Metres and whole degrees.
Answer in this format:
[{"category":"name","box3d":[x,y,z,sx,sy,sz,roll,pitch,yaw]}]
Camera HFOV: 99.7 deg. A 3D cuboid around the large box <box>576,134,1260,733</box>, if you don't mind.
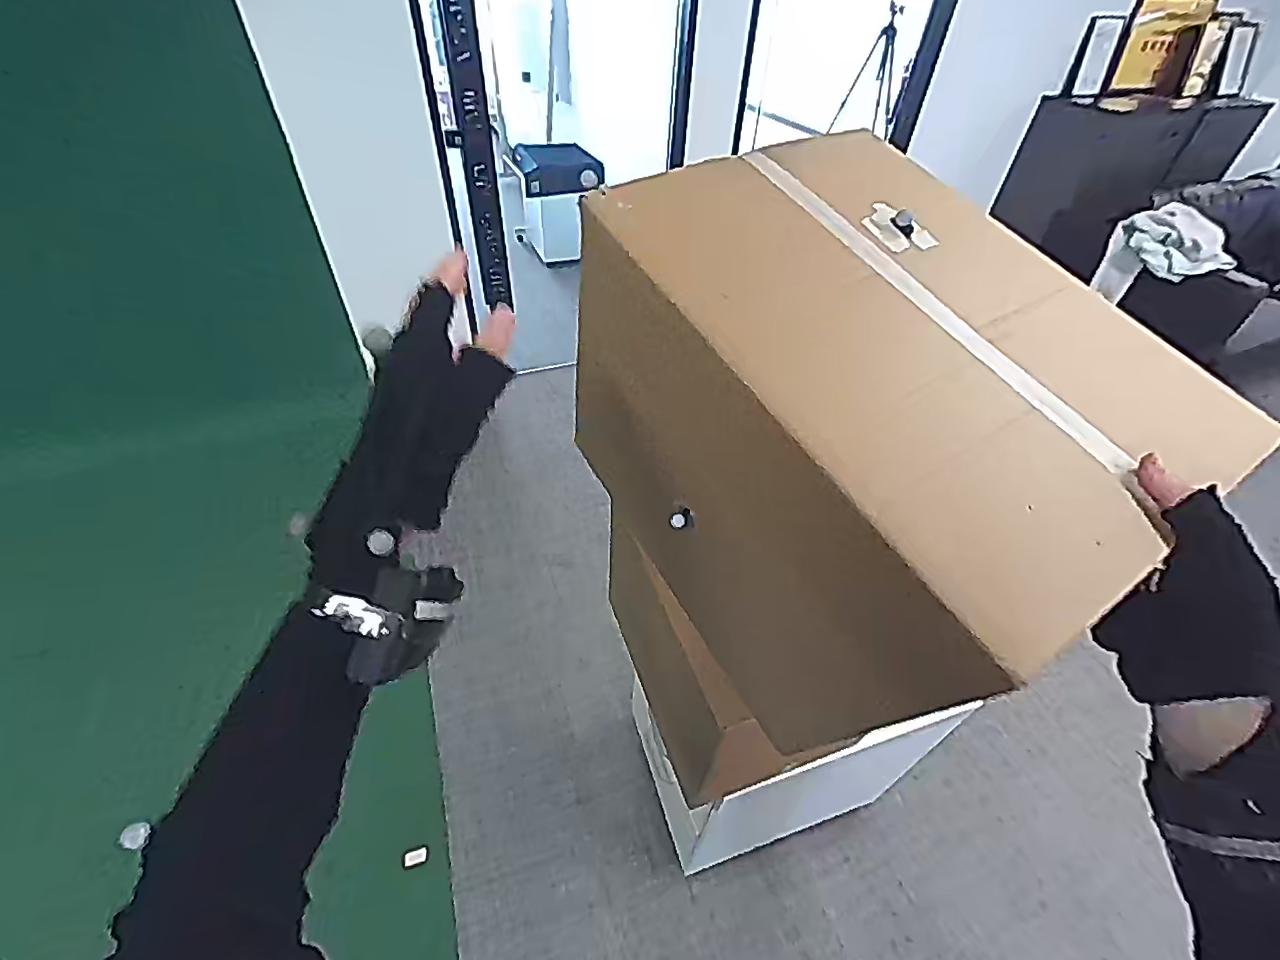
[{"category":"large box","box3d":[0.168,-0.045,0.511,0.320,0.320,0.408,-24,64,-21]}]
